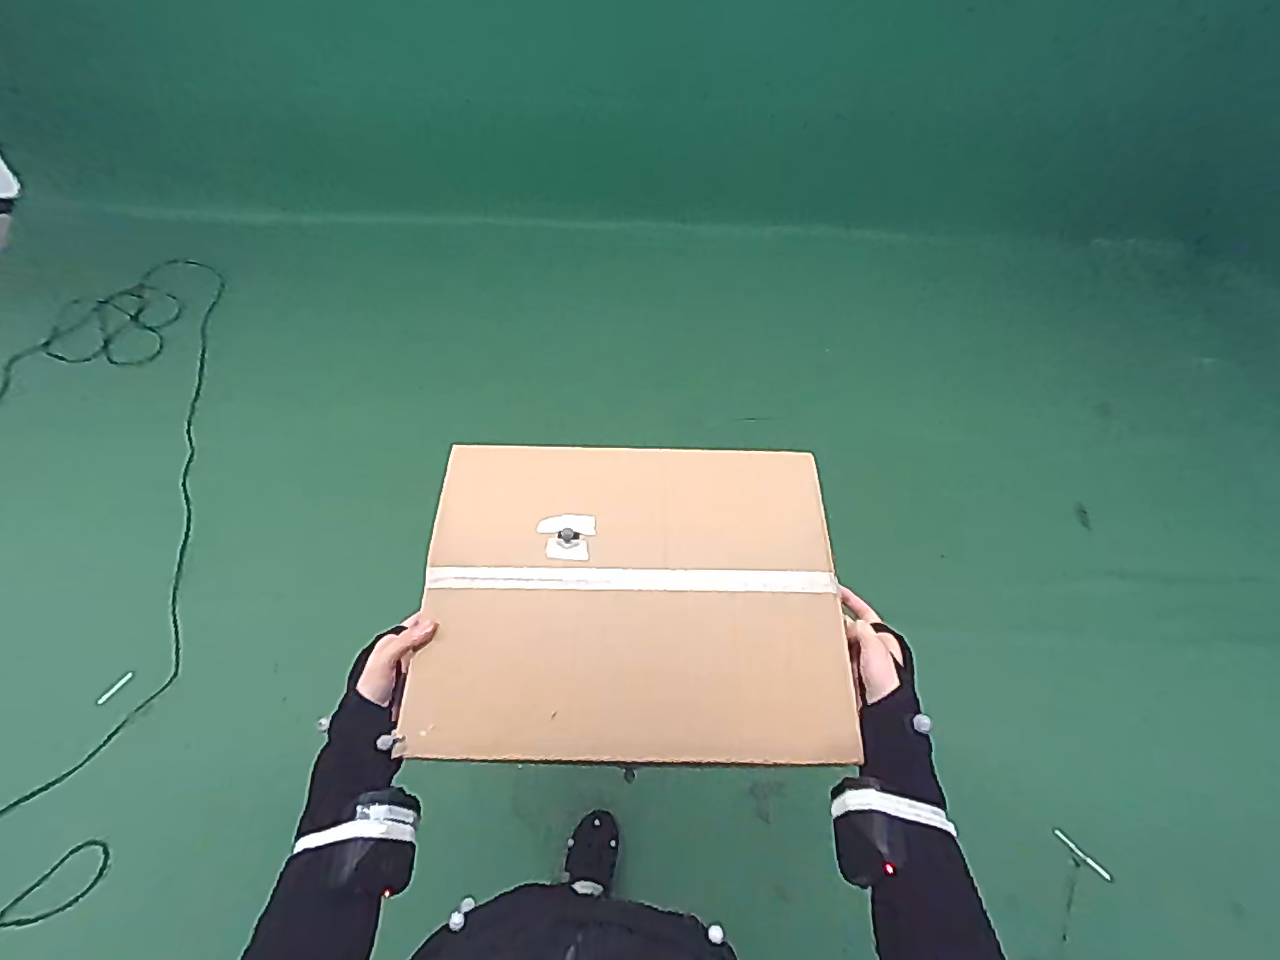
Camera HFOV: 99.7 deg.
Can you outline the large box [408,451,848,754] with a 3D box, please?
[{"bbox_3d":[-0.008,0.172,0.683,0.408,0.320,0.320,1,61,0],"label":"large box"}]
